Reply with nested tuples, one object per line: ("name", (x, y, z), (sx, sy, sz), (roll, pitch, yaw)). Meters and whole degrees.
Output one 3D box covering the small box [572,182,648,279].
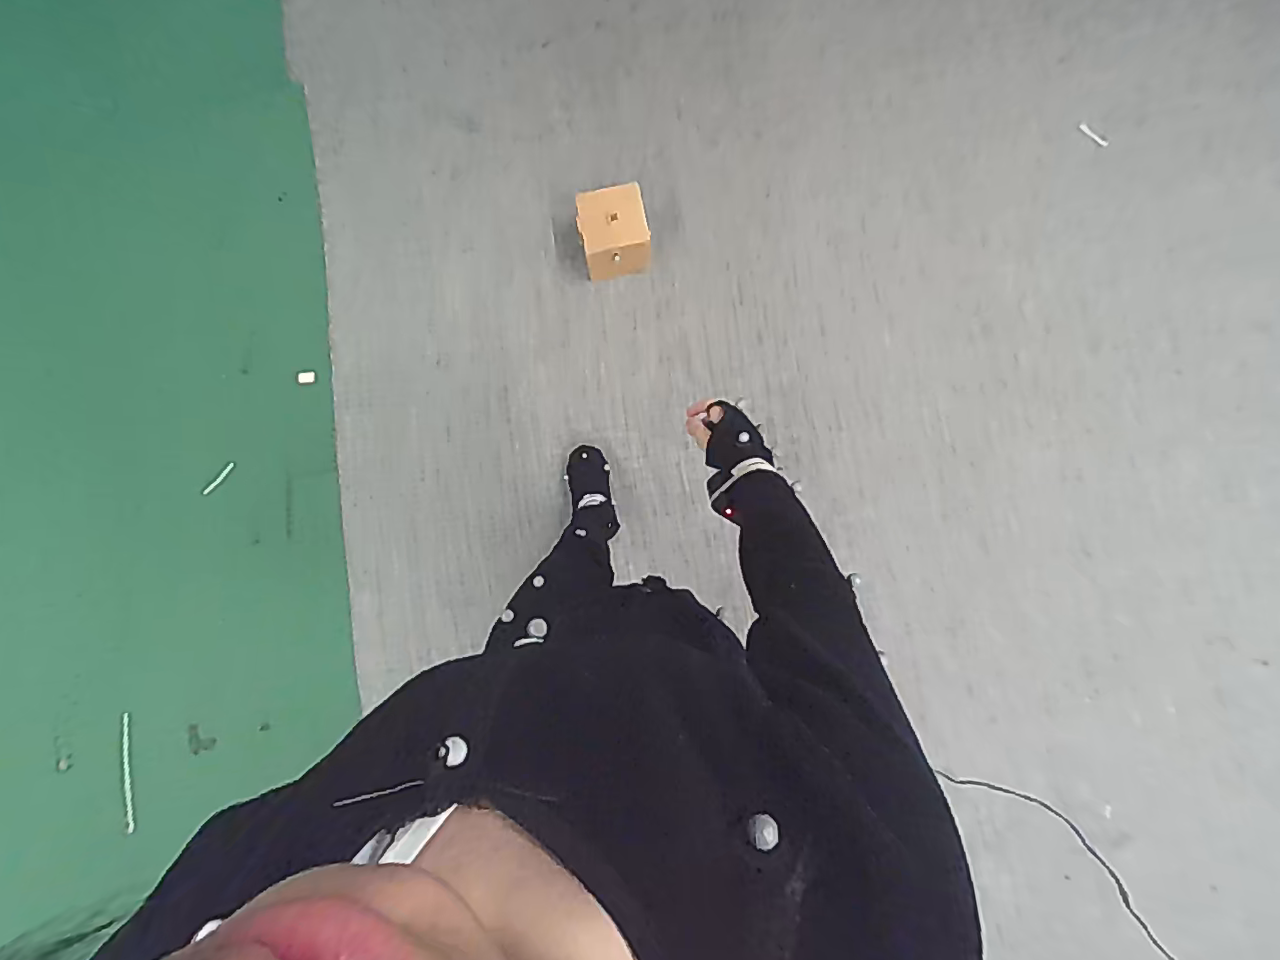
("small box", (-0.079, -0.680, 1.488), (0.179, 0.176, 0.168), (-12, 86, 1))
